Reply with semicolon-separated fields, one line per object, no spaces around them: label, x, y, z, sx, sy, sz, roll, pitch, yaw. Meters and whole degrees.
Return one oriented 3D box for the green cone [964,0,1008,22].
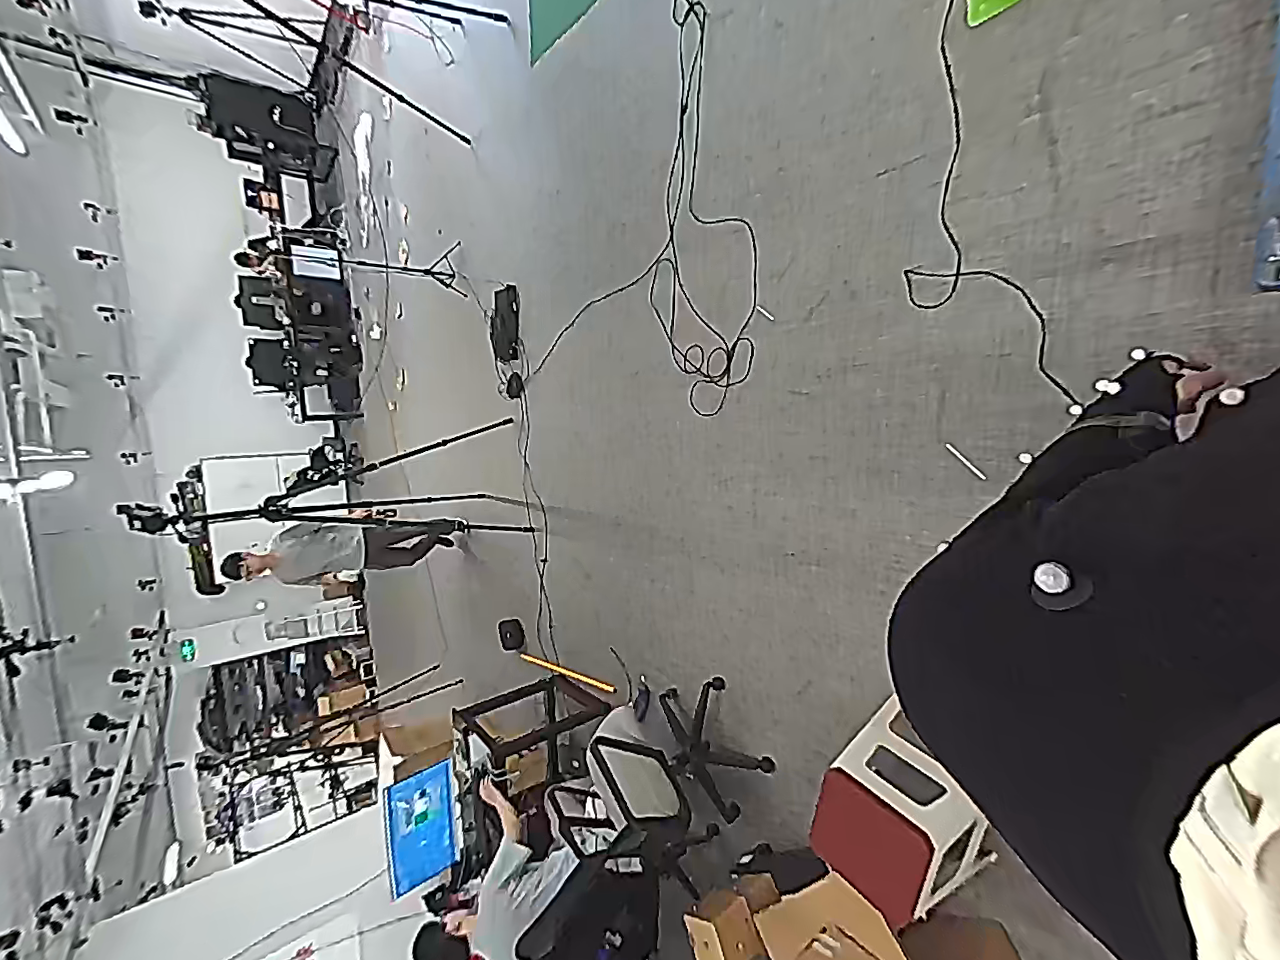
green cone;0.776;-1.280;1.241;0.202;0.368;0.200;0;96;54
